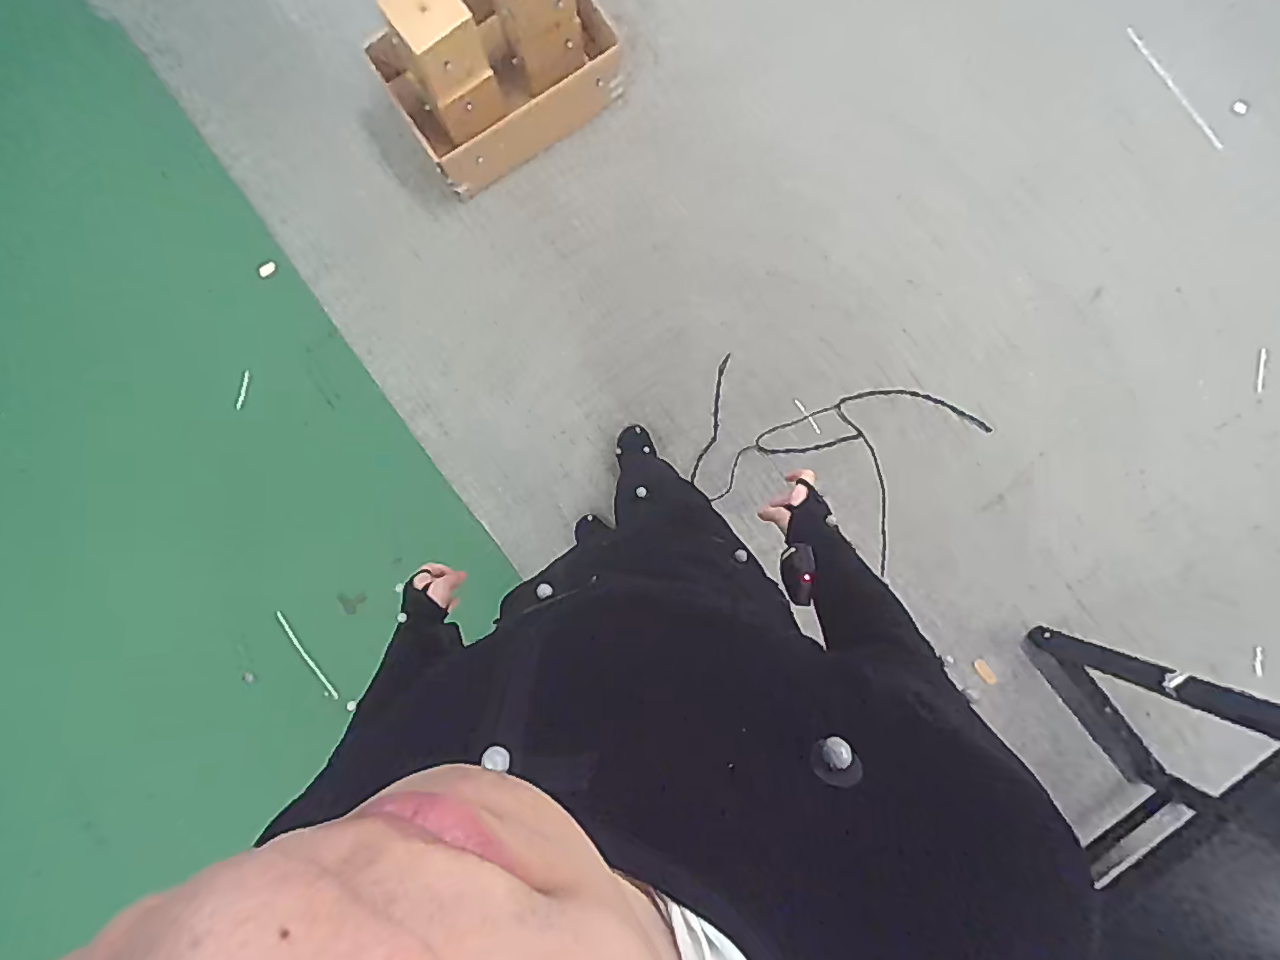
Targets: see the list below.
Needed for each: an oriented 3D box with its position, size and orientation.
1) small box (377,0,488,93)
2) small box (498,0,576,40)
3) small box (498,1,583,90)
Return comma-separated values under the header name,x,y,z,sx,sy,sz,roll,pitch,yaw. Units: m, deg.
name,x,y,z,sx,sy,sz,roll,pitch,yaw
small box,-0.510,-1.121,1.354,0.168,0.176,0.179,-38,89,-1
small box,-0.275,-1.260,1.355,0.168,0.176,0.179,-31,89,-1
small box,-0.270,-1.258,1.518,0.179,0.176,0.168,-31,89,0
